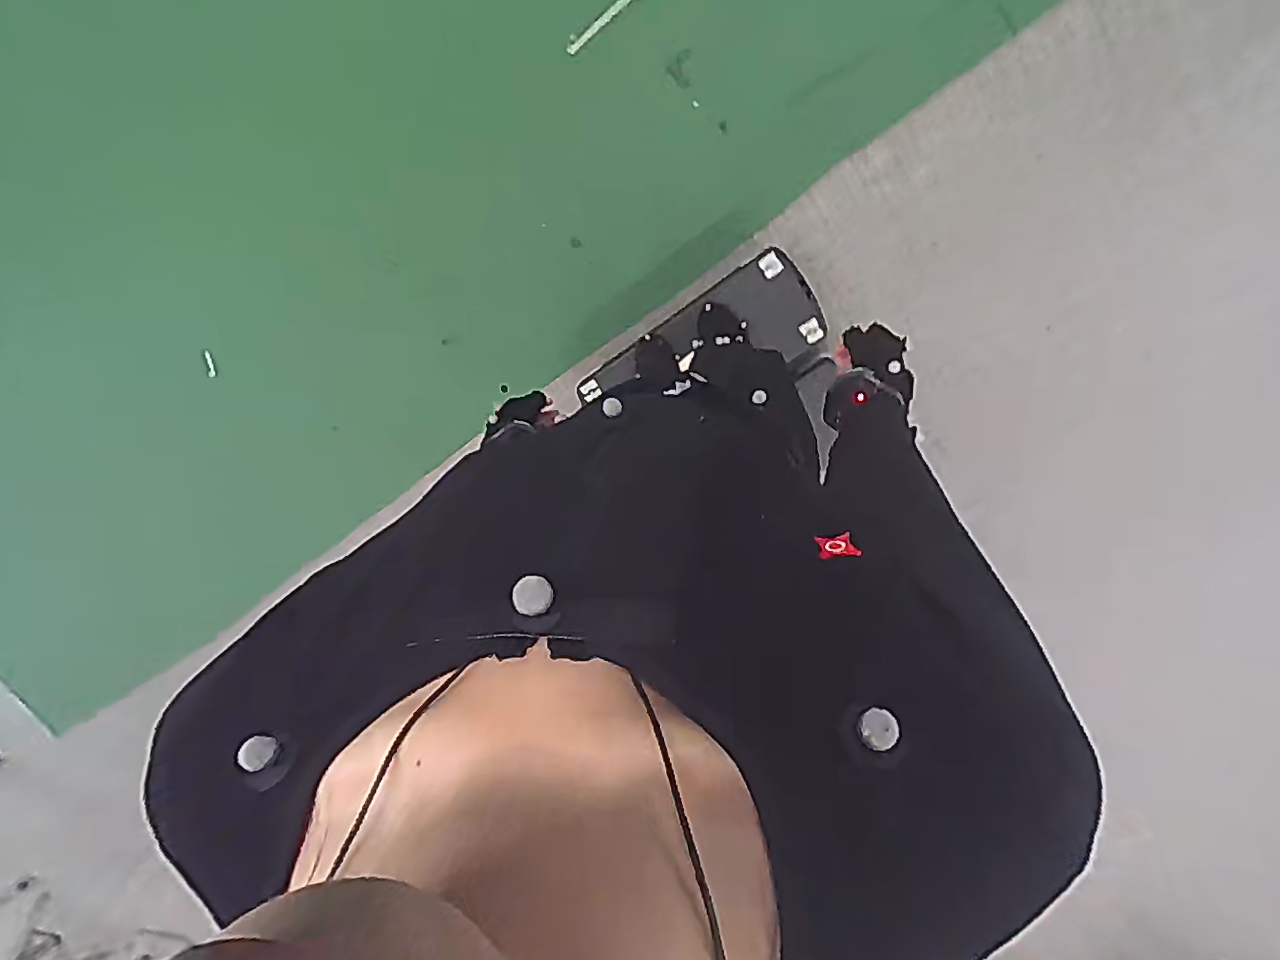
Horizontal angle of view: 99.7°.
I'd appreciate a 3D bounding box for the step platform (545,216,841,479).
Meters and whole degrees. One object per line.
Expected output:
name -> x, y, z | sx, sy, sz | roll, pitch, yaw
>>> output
step platform -> 0.110, -0.304, 1.303 | 0.684, 0.204, 0.286 | -34, 102, 14
